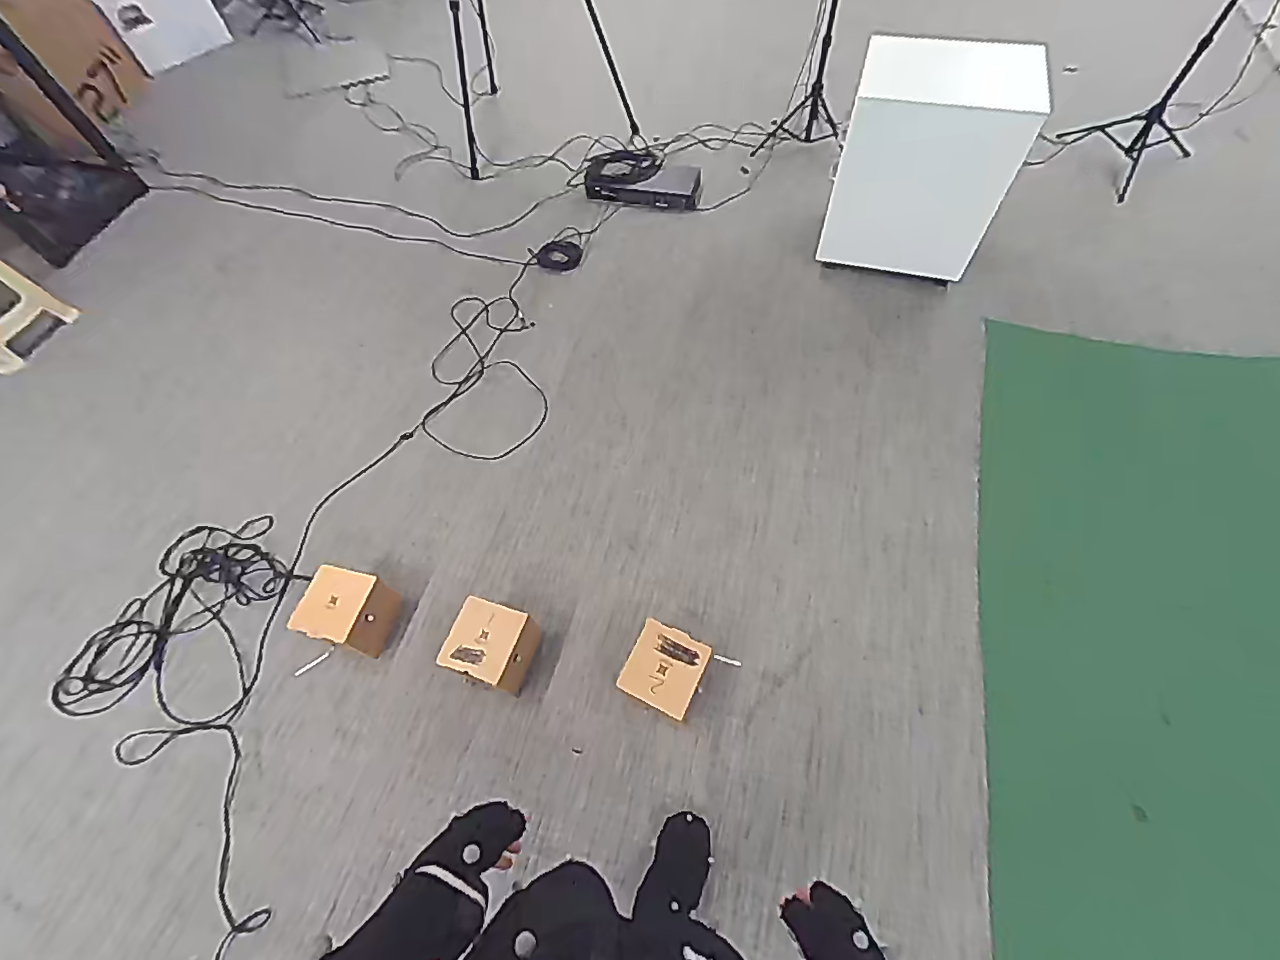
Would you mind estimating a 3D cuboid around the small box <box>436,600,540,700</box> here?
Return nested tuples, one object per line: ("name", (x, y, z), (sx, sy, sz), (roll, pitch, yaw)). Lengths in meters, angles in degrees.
("small box", (-0.367, 0.427, 1.345), (0.168, 0.176, 0.179), (15, 61, 13))

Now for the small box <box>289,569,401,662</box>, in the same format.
("small box", (-0.758, 0.358, 1.416), (0.168, 0.176, 0.179), (10, 61, 11))
